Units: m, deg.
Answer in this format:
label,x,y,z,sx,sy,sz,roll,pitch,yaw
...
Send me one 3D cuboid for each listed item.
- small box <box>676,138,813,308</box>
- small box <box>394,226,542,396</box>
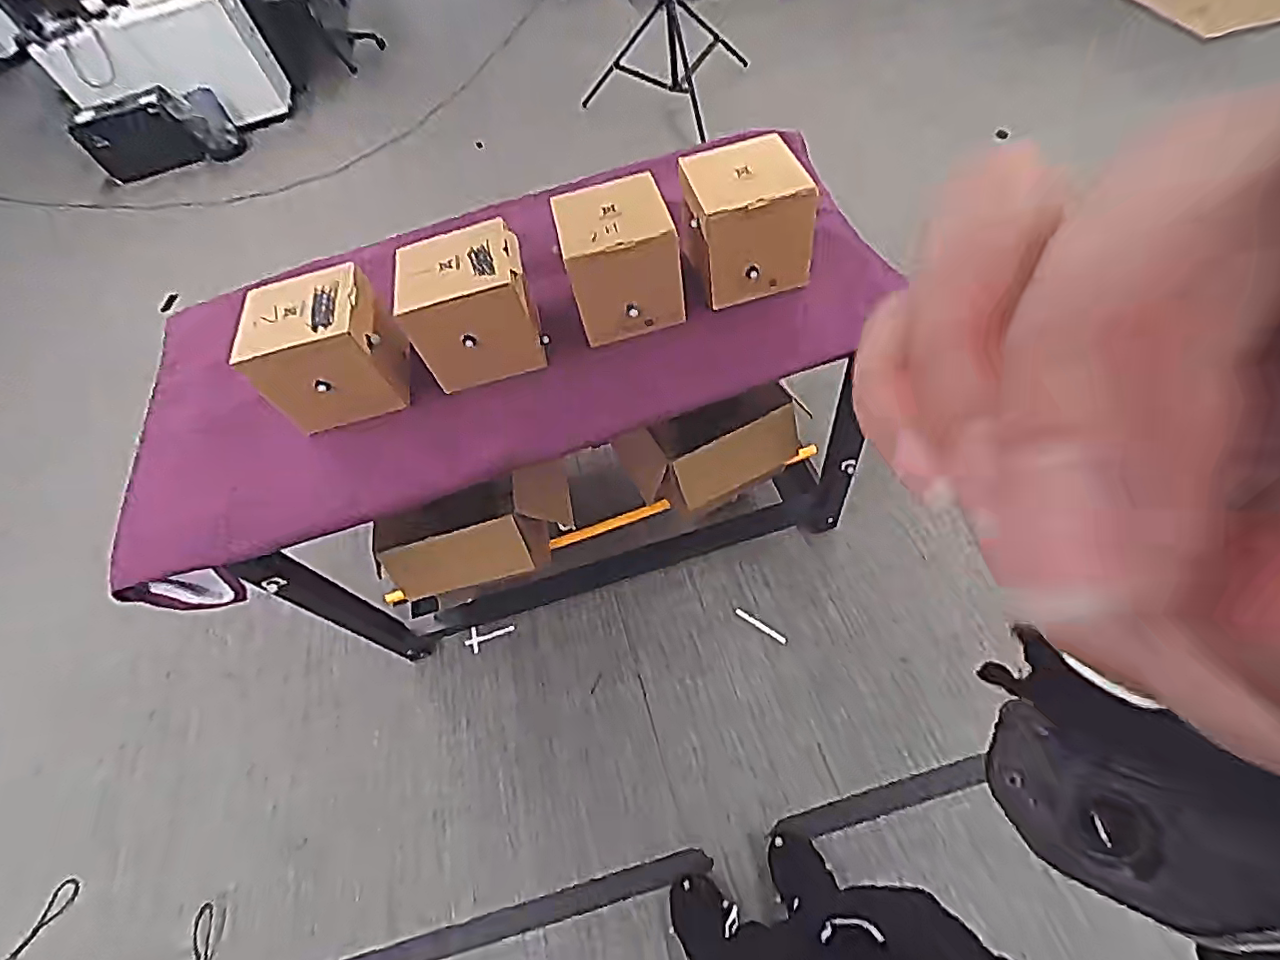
label,x,y,z,sx,sy,sz,roll,pitch,yaw
small box,0.163,-0.413,0.879,0.168,0.176,0.179,-15,56,1
small box,-0.265,-0.264,0.864,0.179,0.176,0.168,-16,57,1
